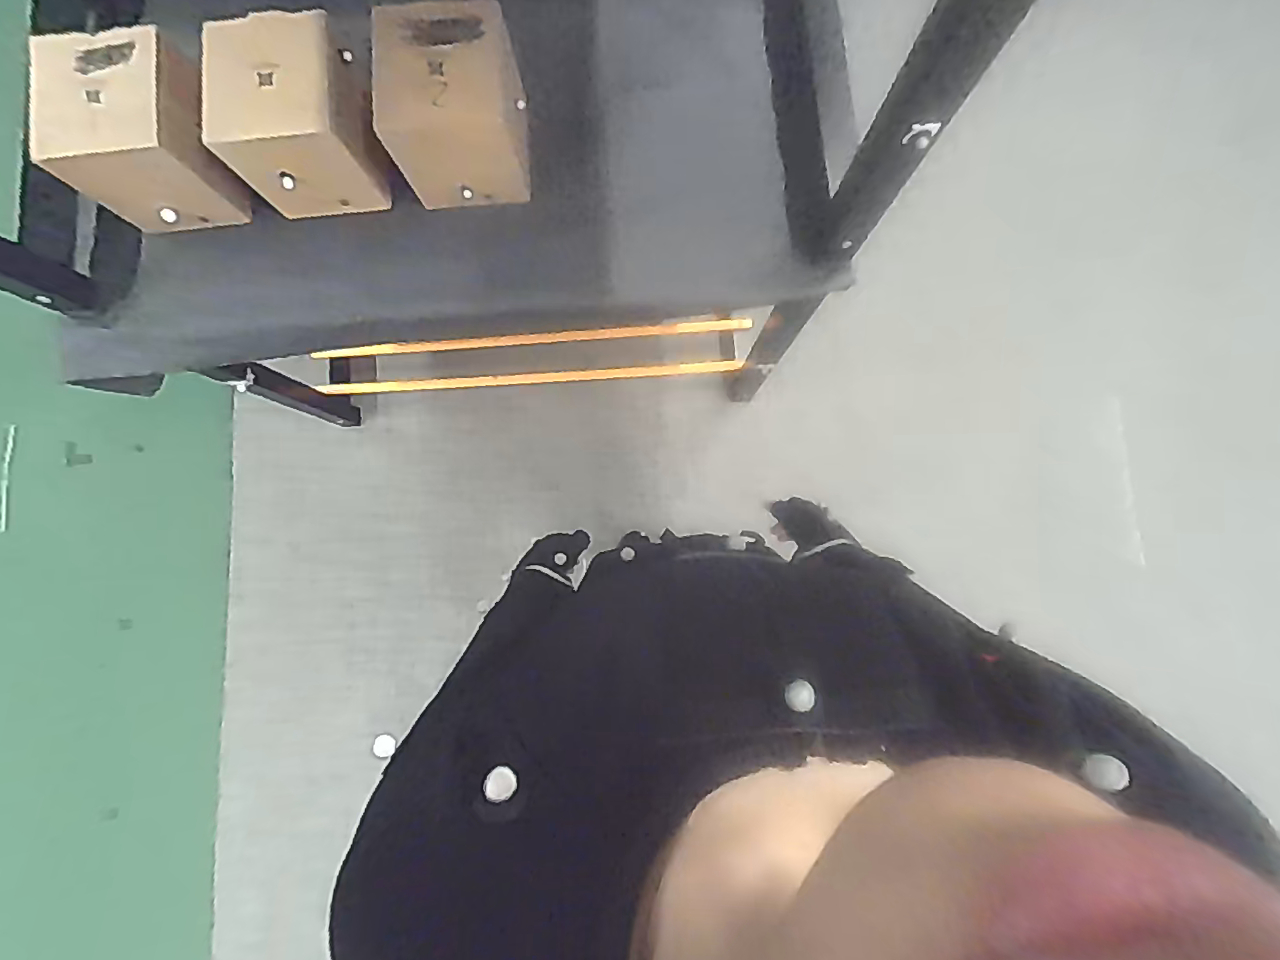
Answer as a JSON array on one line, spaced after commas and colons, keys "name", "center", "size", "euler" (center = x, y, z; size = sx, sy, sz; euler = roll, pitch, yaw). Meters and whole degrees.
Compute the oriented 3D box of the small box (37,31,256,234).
[{"name": "small box", "center": [-0.689, -0.486, 0.776], "size": [0.168, 0.176, 0.179], "euler": [-6, 83, 1]}]
